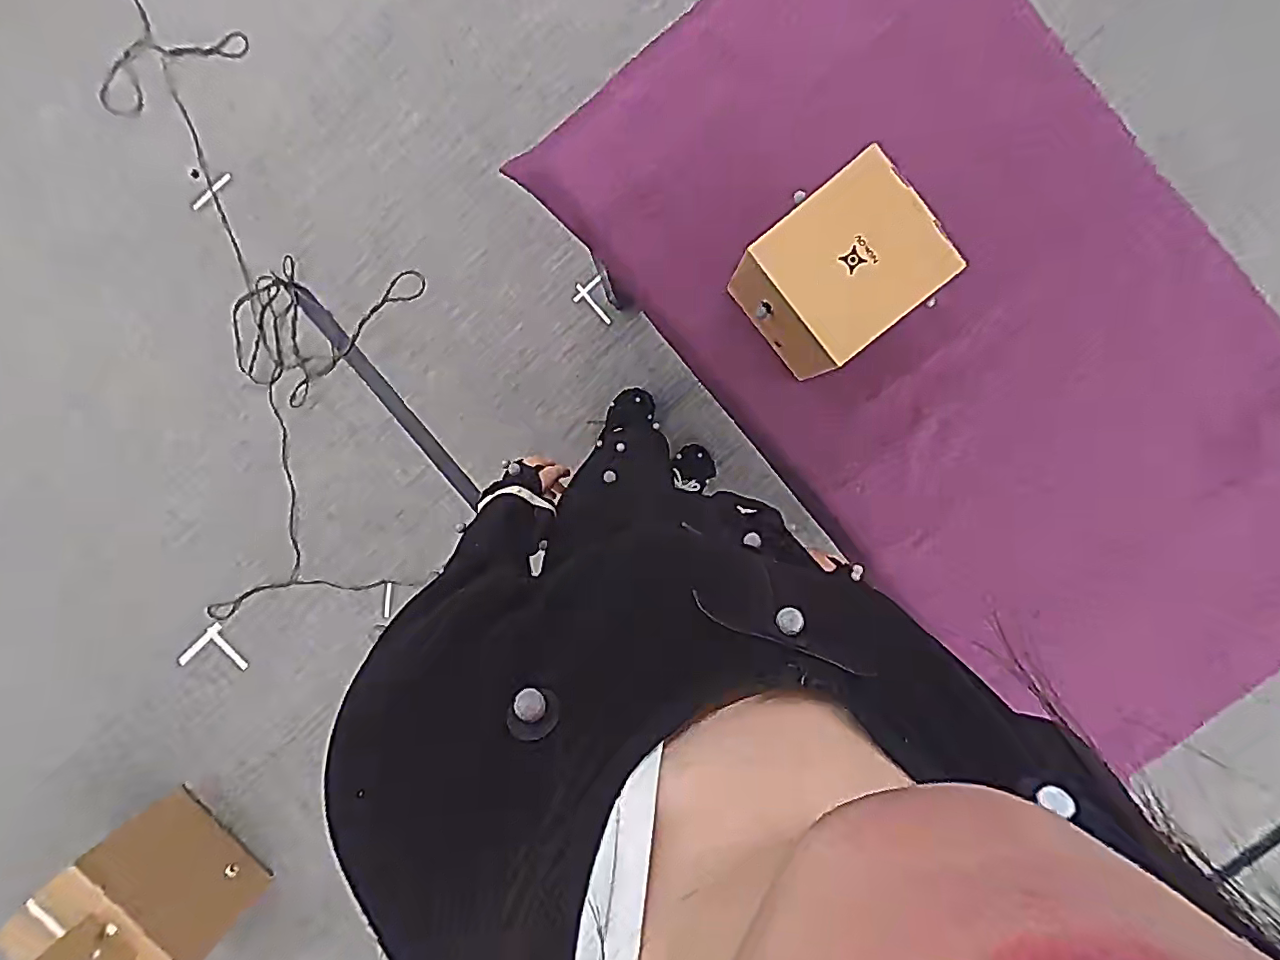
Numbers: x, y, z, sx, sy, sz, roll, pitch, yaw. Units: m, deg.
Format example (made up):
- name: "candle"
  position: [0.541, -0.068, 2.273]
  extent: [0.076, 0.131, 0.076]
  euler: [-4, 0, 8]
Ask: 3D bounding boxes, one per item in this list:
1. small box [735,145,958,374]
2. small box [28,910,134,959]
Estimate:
- name: "small box"
  position: [0.233, -0.251, 0.669]
  extent: [0.179, 0.176, 0.168]
  euler: [-39, 93, 3]
- name: "small box"
  position: [-1.359, 1.175, 1.260]
  extent: [0.179, 0.176, 0.168]
  euler: [-43, 93, 4]
